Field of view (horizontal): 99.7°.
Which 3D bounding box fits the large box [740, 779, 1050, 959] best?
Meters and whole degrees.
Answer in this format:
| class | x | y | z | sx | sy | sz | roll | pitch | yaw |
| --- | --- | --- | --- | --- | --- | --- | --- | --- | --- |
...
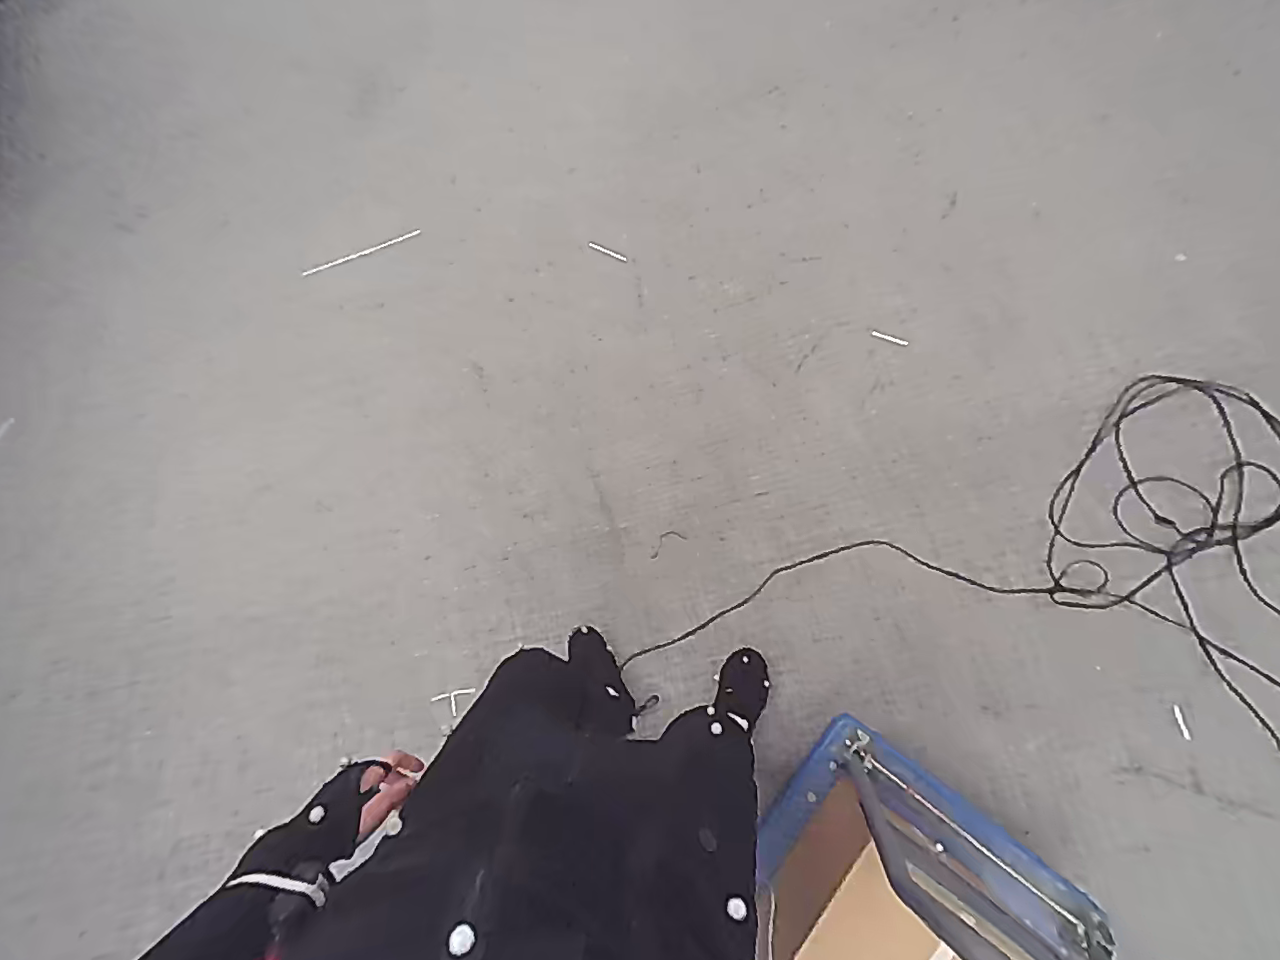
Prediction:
| class | x | y | z | sx | sy | sz | roll | pitch | yaw |
| --- | --- | --- | --- | --- | --- | --- | --- | --- | --- |
| large box | 0.406 | 0.828 | 0.931 | 0.320 | 0.320 | 0.408 | 34 | 86 | 17 |
